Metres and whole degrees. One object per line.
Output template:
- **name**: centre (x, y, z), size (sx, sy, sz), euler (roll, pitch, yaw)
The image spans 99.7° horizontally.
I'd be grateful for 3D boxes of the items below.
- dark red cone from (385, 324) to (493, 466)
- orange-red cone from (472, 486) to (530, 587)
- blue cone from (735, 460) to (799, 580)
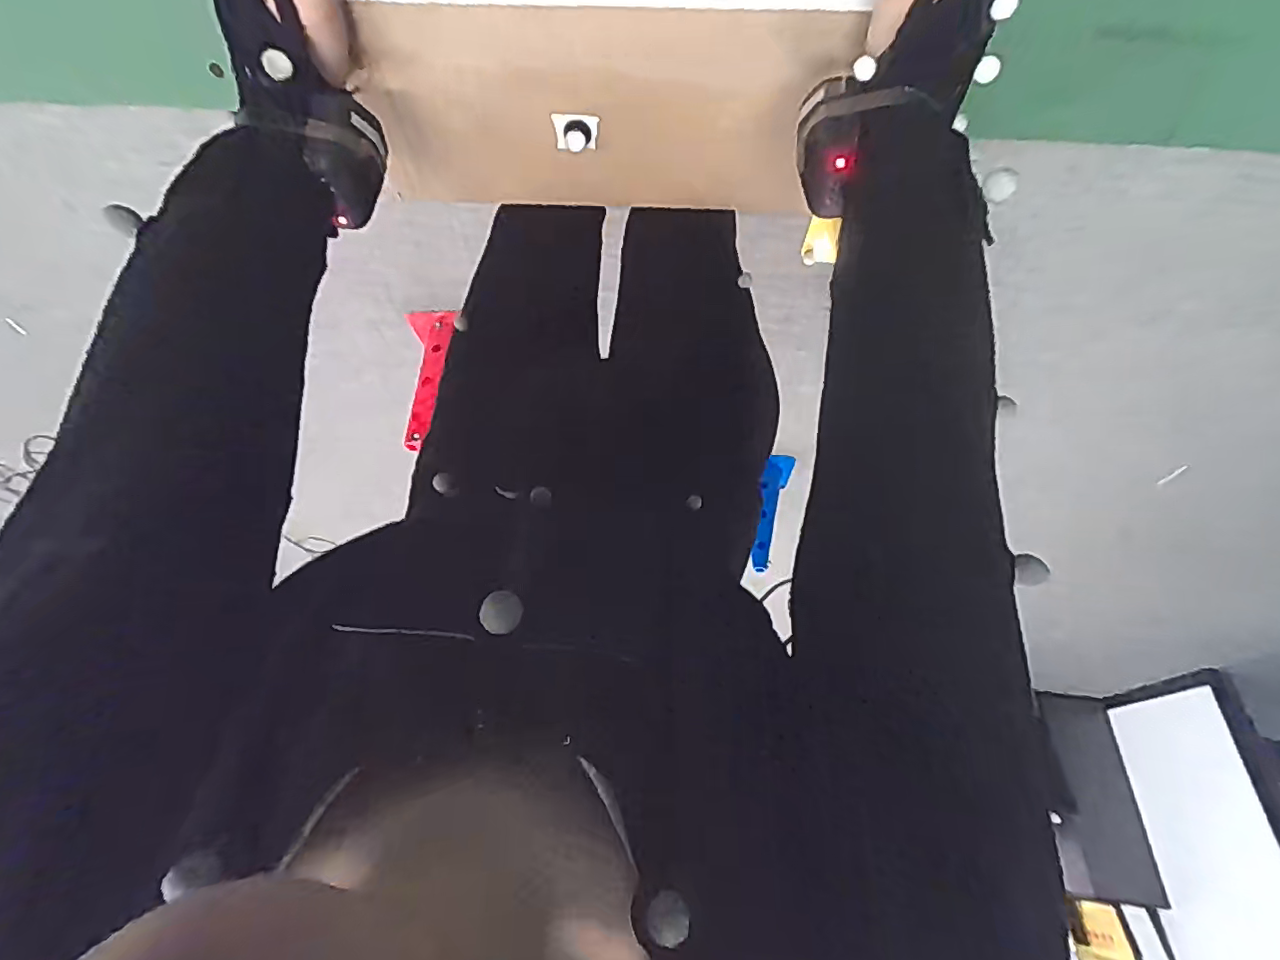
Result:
- **dark red cone**: centre (-0.524, -0.198, 1.325), size (0.202, 0.394, 0.201), euler (2, 144, 11)
- **orange-red cone**: centre (-0.566, 0.232, 2.041), size (0.199, 0.360, 0.198), euler (18, 145, -11)
- **blue cone**: centre (0.394, 0.129, 1.687), size (0.192, 0.380, 0.193), euler (5, 148, 4)
